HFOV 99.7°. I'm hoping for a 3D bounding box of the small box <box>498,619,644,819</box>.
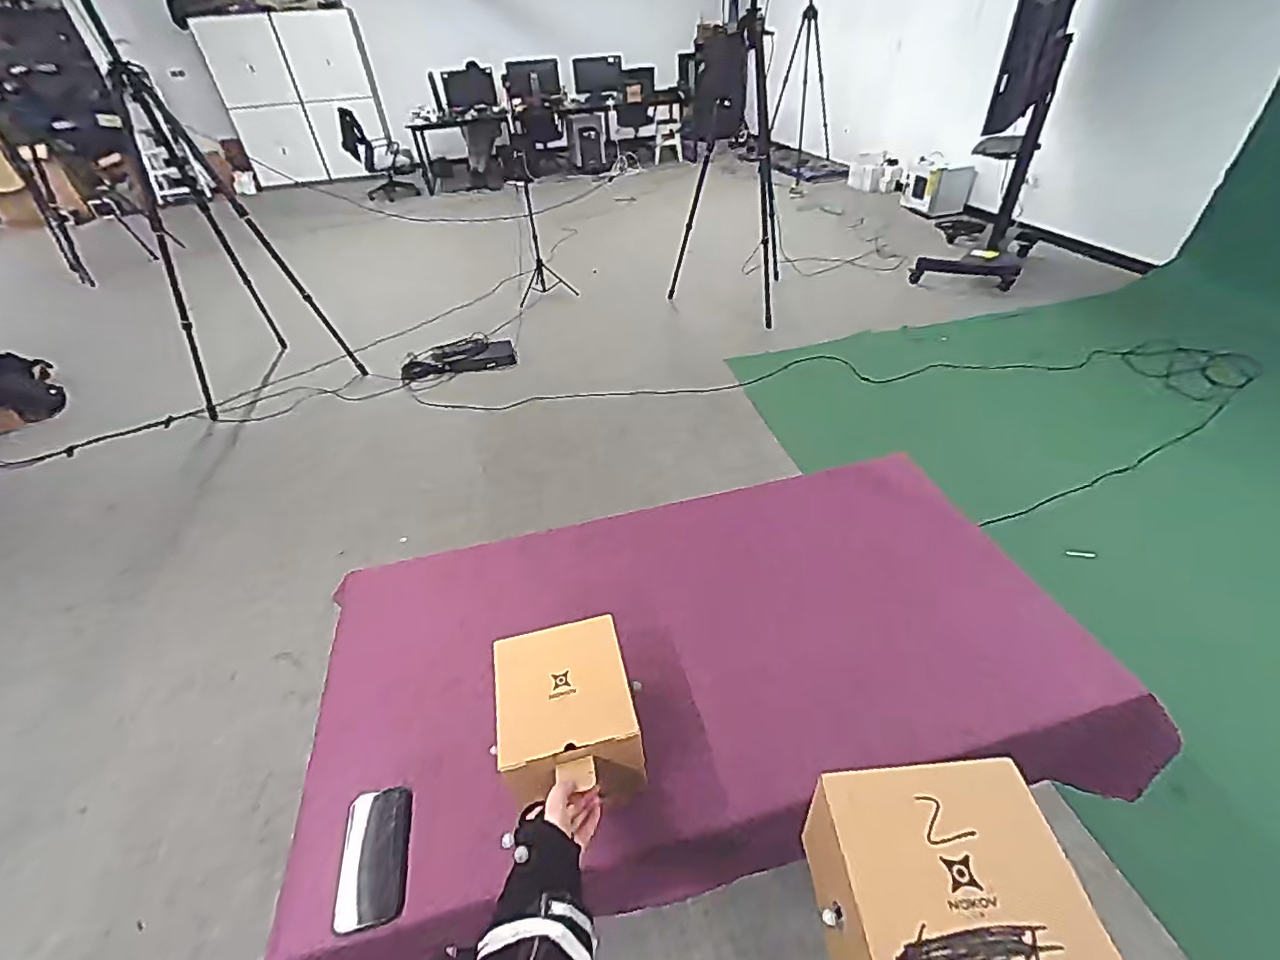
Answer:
[{"bbox_3d":[-0.094,0.324,0.740,0.168,0.176,0.179,-11,41,-8],"label":"small box"}]
